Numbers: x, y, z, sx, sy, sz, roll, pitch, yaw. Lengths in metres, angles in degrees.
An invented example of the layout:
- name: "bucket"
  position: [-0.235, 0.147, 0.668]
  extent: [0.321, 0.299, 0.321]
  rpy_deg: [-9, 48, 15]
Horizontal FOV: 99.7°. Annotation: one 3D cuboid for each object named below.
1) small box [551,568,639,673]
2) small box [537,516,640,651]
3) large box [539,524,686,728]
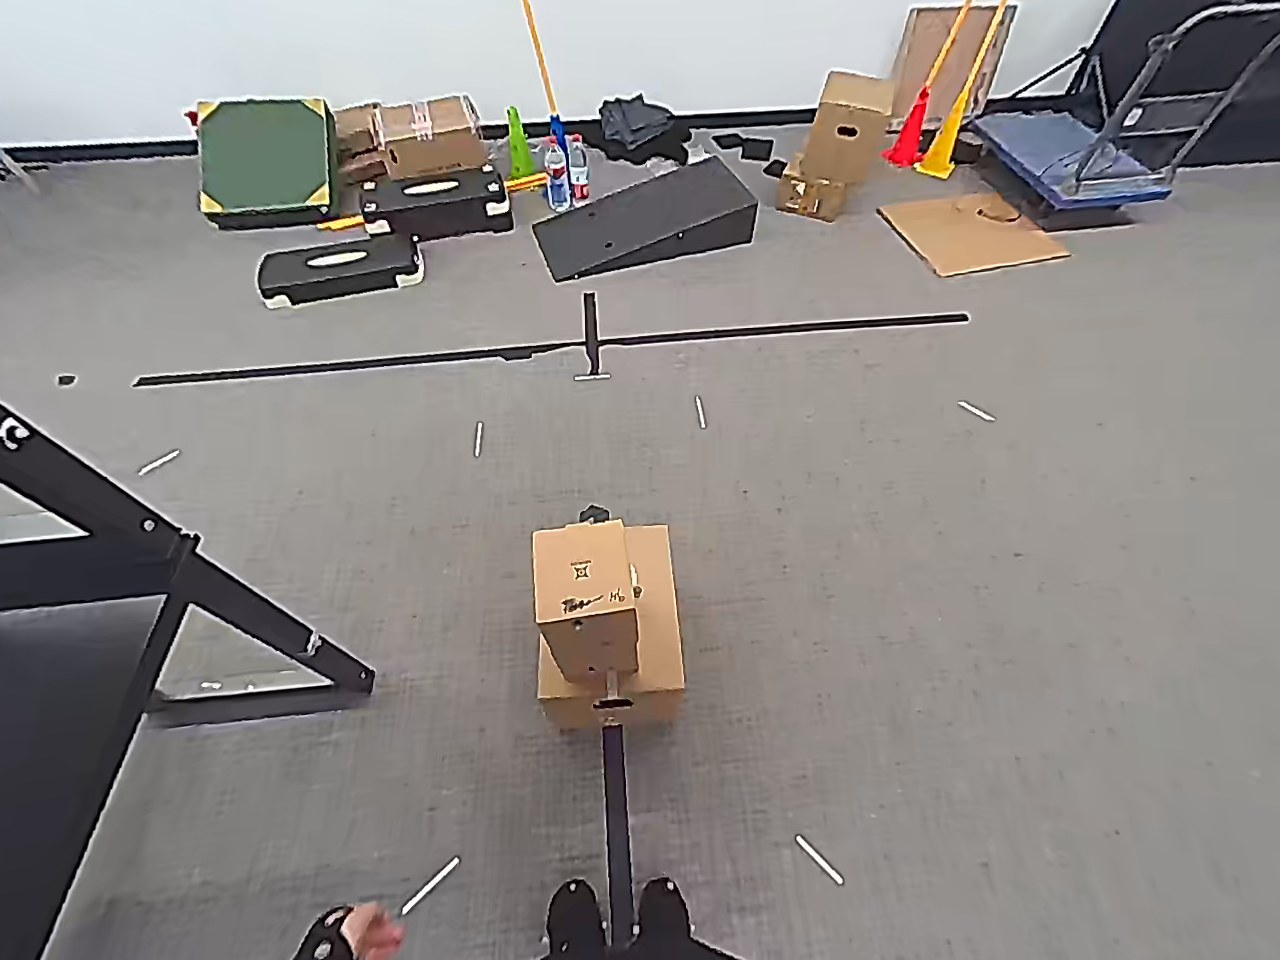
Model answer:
- name: "small box"
  position: [-0.089, 0.284, 1.123]
  extent: [0.168, 0.176, 0.179]
  rpy_deg: [-5, 55, -1]
- name: "small box"
  position: [-0.092, 0.191, 0.988]
  extent: [0.168, 0.176, 0.179]
  rpy_deg: [-8, 54, -2]
- name: "large box"
  position: [-0.070, 0.369, 1.362]
  extent: [0.320, 0.320, 0.408]
  rpy_deg: [-3, 54, -3]
